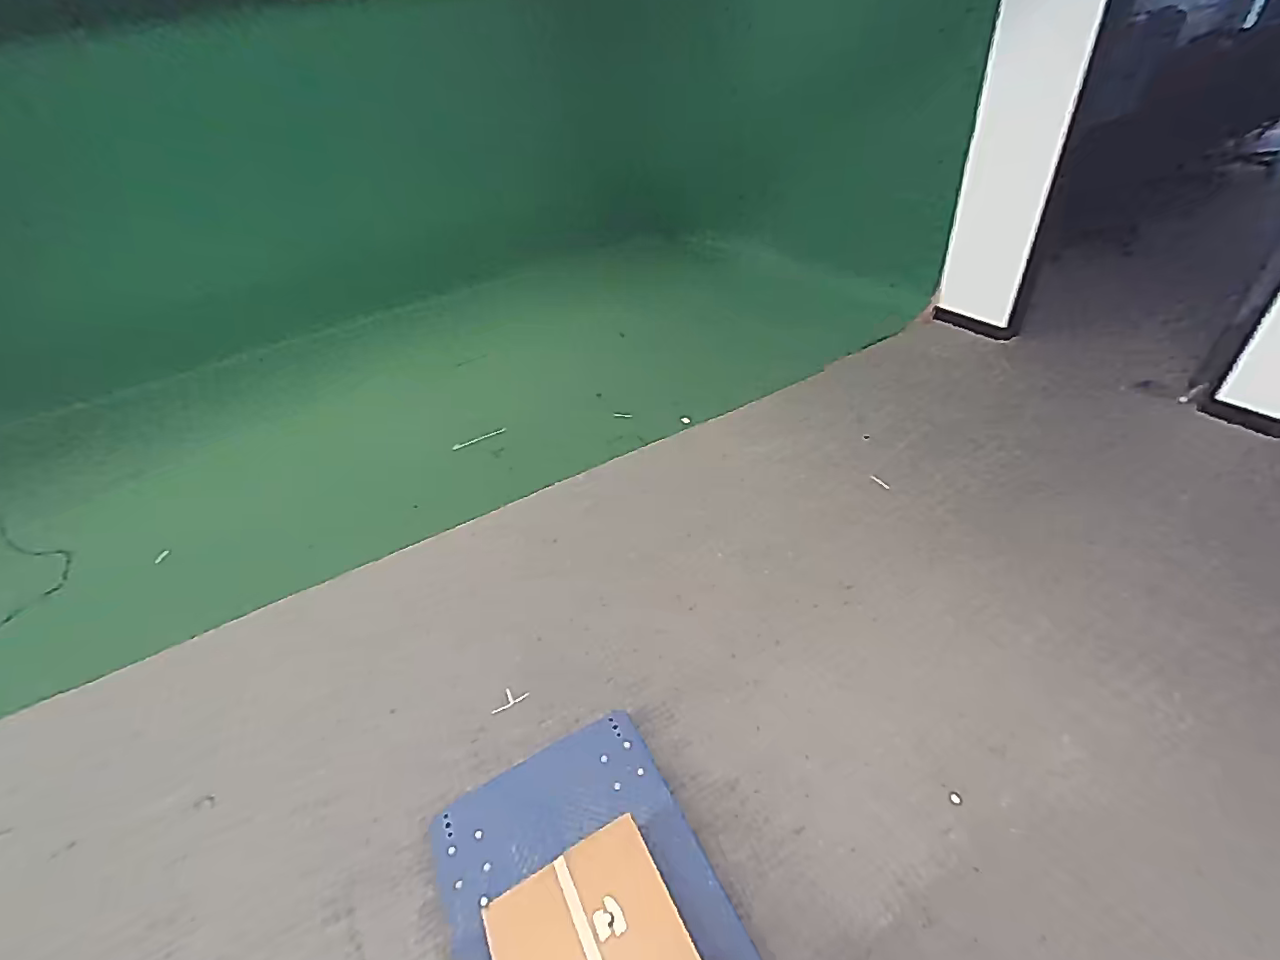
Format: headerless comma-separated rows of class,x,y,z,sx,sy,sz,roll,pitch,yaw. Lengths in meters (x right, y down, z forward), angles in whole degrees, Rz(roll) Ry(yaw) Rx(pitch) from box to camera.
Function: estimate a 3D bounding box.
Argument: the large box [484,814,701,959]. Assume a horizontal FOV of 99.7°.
large box,-0.041,0.942,0.993,0.320,0.320,0.408,-24,40,-17
